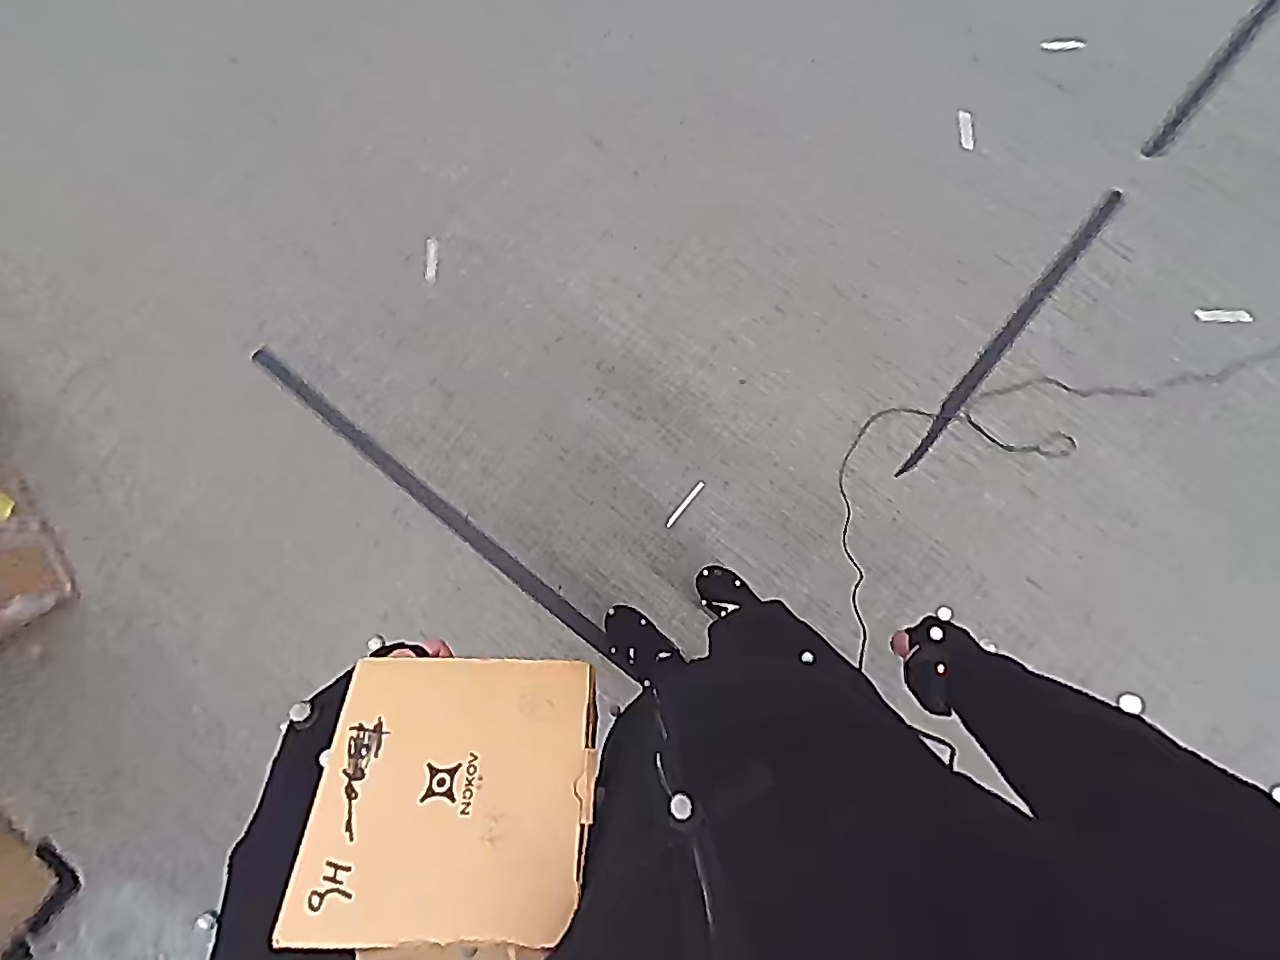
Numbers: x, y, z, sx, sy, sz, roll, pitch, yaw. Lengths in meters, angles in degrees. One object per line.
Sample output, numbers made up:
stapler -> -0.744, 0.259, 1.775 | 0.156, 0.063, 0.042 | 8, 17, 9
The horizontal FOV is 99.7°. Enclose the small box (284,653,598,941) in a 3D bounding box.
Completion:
small box -> -0.127, 0.249, 0.431 | 0.179, 0.176, 0.168 | 3, 54, -3
